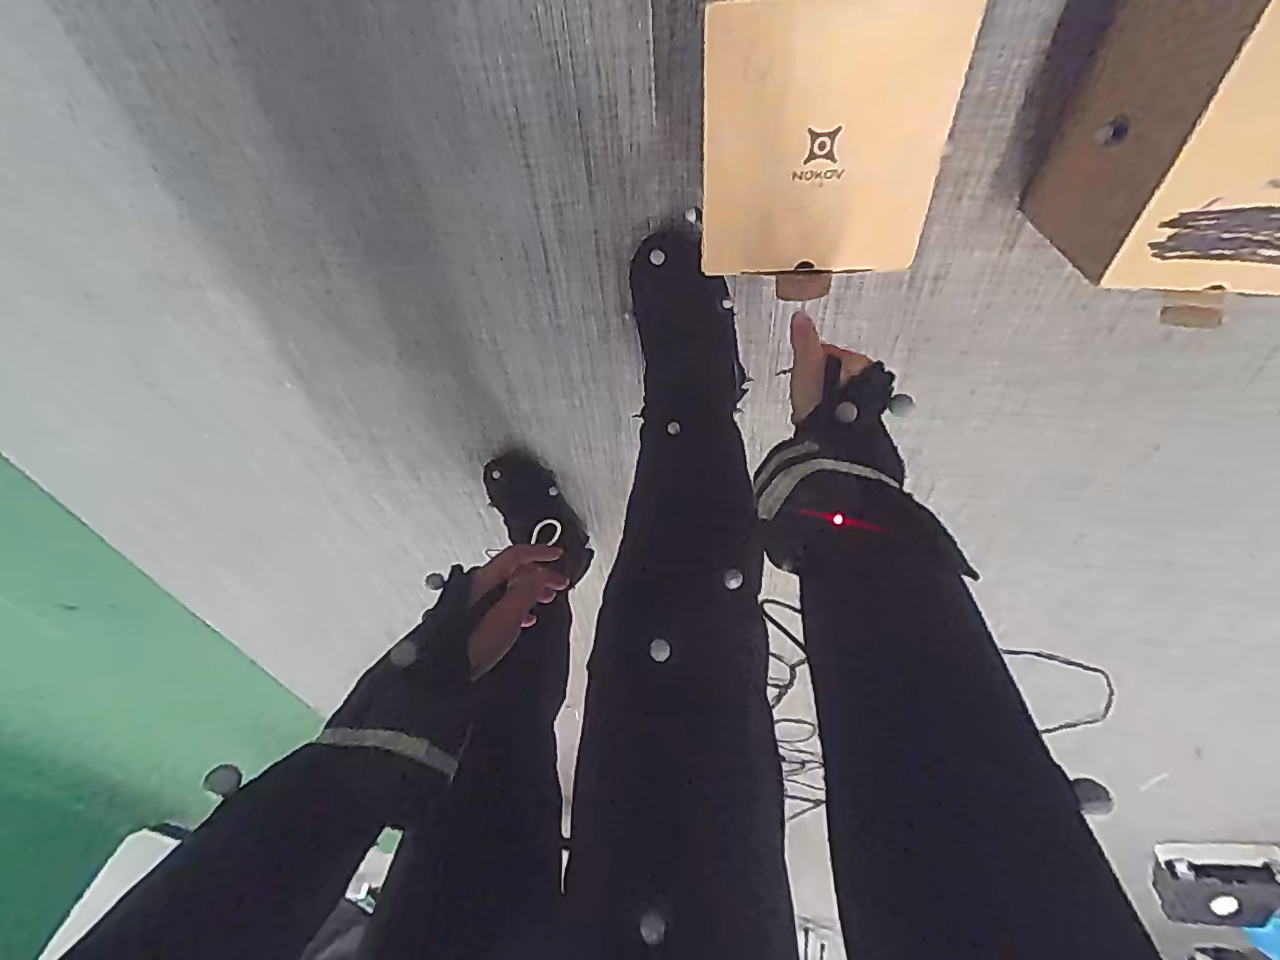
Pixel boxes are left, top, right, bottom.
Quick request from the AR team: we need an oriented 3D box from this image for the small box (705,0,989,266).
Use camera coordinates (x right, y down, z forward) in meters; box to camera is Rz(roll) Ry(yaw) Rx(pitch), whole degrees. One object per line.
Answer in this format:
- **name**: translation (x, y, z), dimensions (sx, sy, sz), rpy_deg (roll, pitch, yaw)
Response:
- **small box**: translation (0.136, -0.290, 0.427), dimensions (0.168, 0.176, 0.179), rpy_deg (2, 135, 8)
